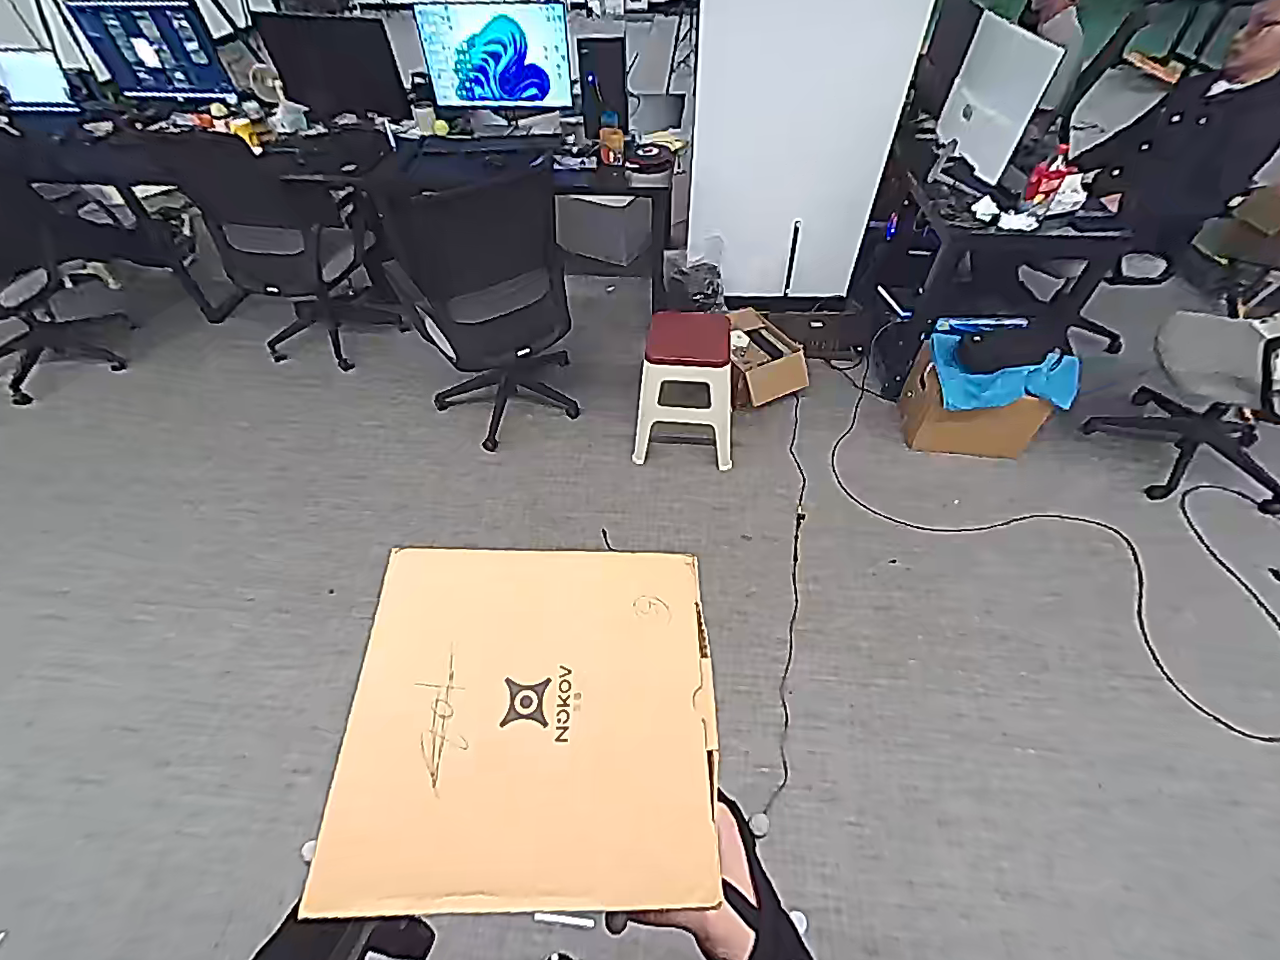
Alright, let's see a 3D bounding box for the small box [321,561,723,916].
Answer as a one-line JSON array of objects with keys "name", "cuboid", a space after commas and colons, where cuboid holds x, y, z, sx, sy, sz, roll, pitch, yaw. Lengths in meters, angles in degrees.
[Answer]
[{"name": "small box", "cuboid": [-0.055, 0.162, 0.343, 0.179, 0.176, 0.168, 1, 55, -3]}]
